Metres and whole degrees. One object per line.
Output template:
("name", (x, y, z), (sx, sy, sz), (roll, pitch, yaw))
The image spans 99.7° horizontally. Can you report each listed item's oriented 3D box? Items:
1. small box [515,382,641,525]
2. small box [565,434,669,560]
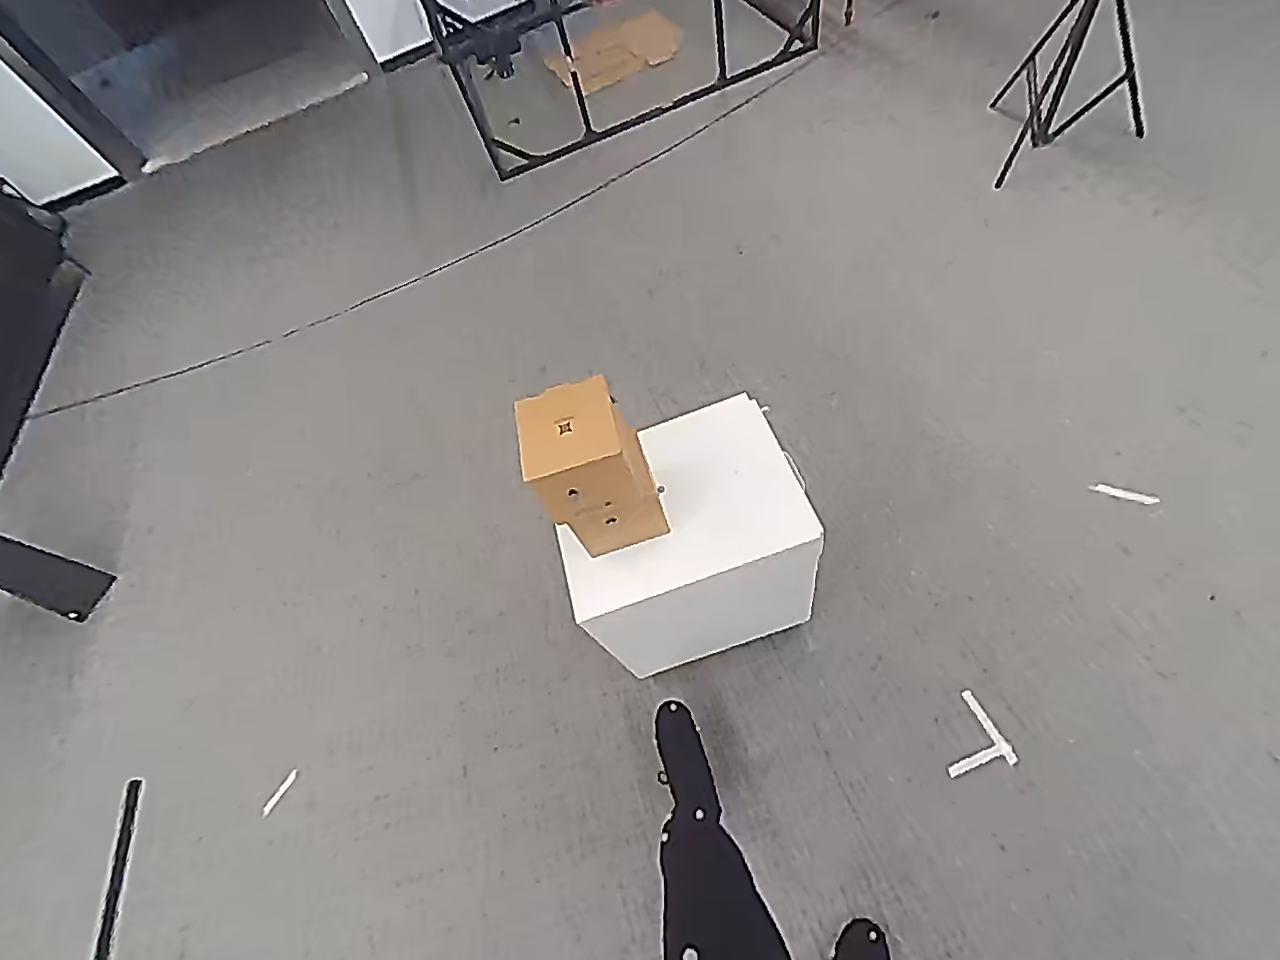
("small box", (-0.106, -0.036, 0.961), (0.168, 0.176, 0.179), (-17, 56, 4))
("small box", (-0.055, 0.041, 1.095), (0.179, 0.176, 0.168), (-18, 56, 2))
